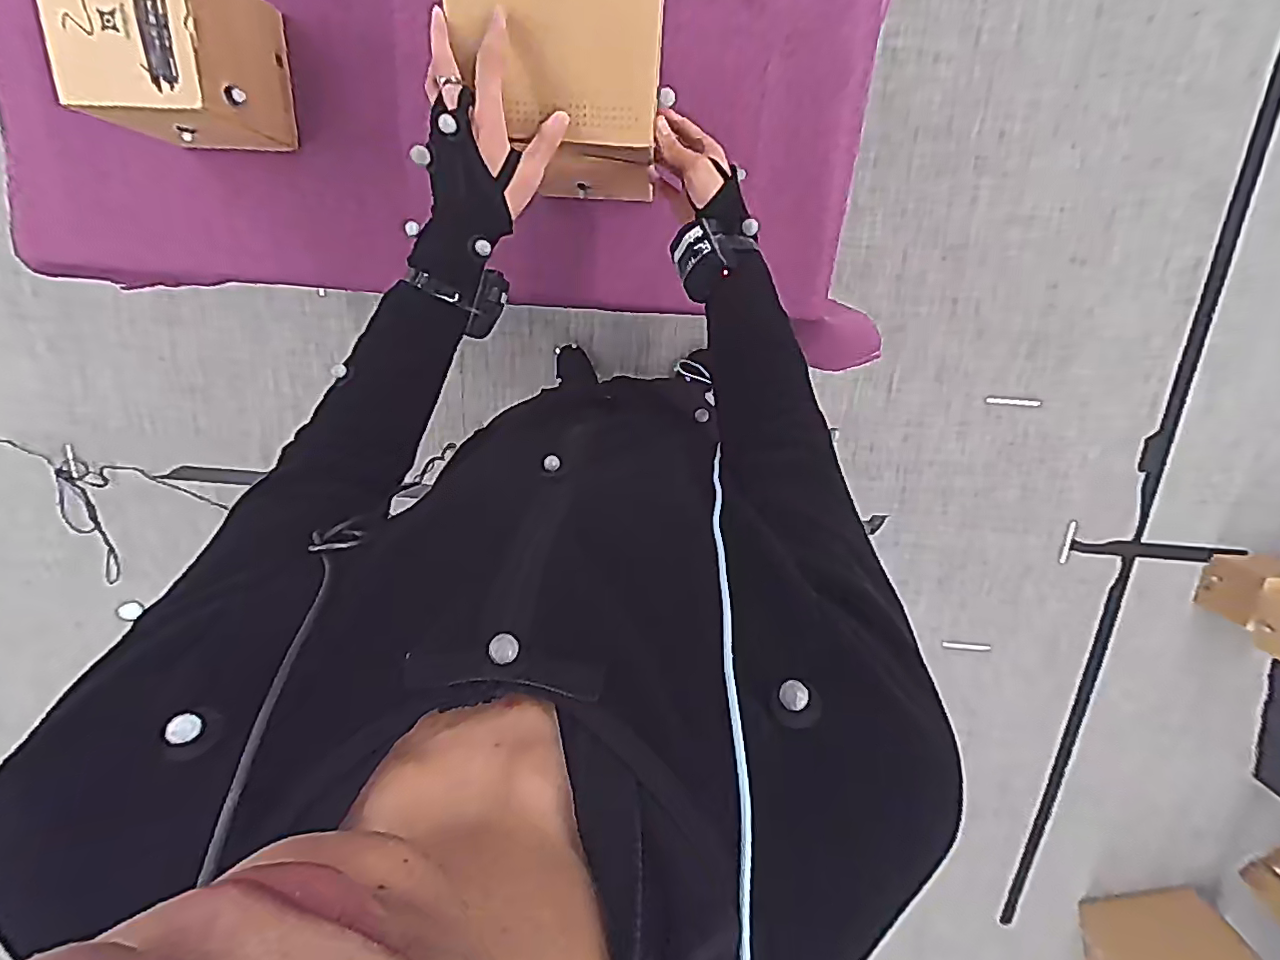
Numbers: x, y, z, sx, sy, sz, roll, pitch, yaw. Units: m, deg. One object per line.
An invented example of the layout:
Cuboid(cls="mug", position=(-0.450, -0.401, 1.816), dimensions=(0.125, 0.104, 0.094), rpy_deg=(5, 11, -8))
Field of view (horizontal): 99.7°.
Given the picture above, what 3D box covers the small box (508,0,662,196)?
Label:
Cuboid(cls="small box", position=(-0.061, -0.467, 0.673), dimensions=(0.168, 0.176, 0.179), rpy_deg=(4, 107, 1))
